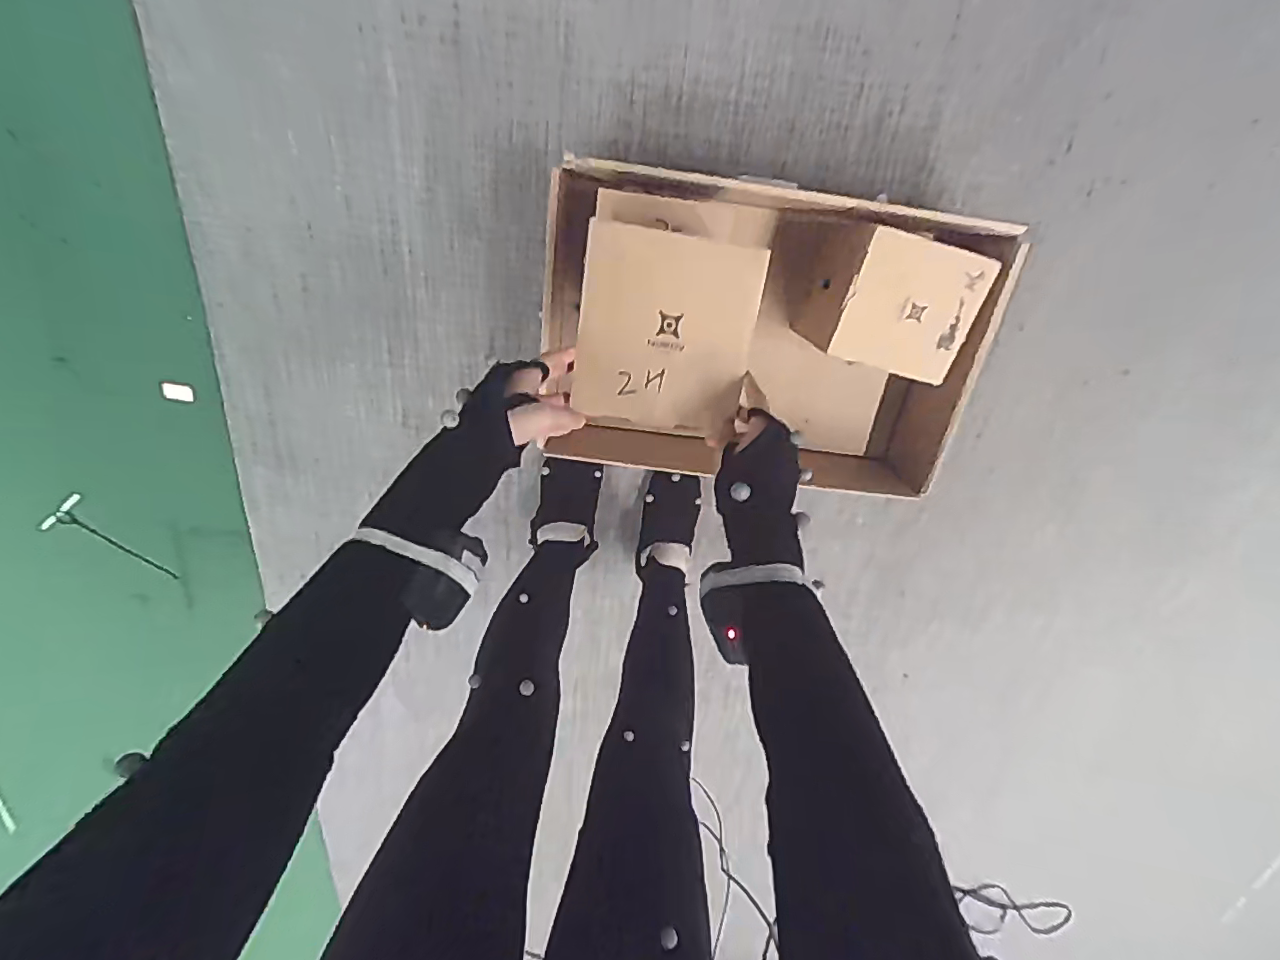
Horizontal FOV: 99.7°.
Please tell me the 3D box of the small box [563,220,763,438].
[{"bbox_3d":[0.013,-0.160,0.580,0.168,0.176,0.179,8,109,-7],"label":"small box"}]
